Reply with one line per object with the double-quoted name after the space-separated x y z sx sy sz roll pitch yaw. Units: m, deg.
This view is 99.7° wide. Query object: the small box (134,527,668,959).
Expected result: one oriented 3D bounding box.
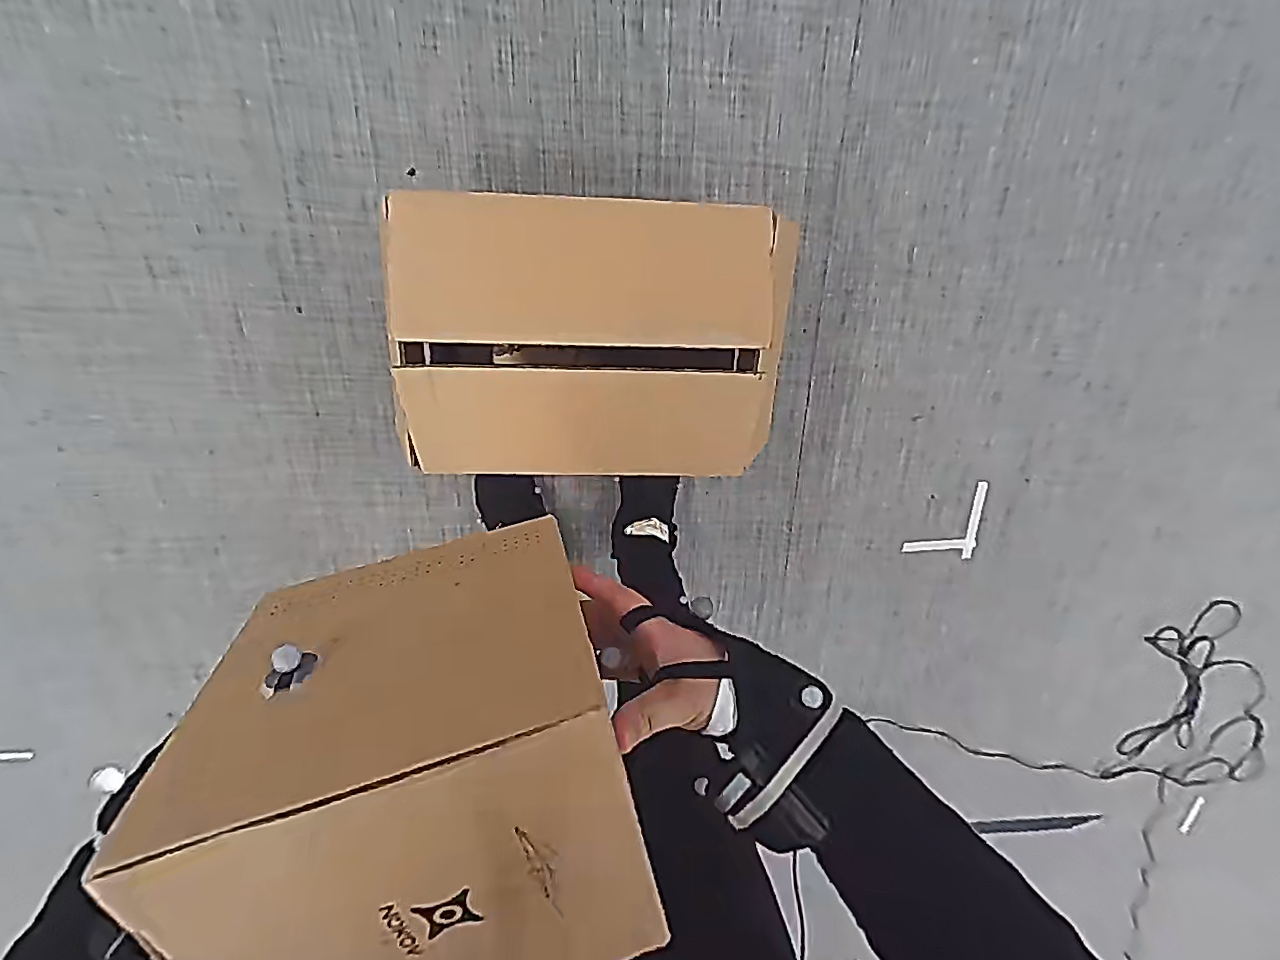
-0.100 0.149 0.303 0.179 0.176 0.168 -16 115 -10 "small box"
